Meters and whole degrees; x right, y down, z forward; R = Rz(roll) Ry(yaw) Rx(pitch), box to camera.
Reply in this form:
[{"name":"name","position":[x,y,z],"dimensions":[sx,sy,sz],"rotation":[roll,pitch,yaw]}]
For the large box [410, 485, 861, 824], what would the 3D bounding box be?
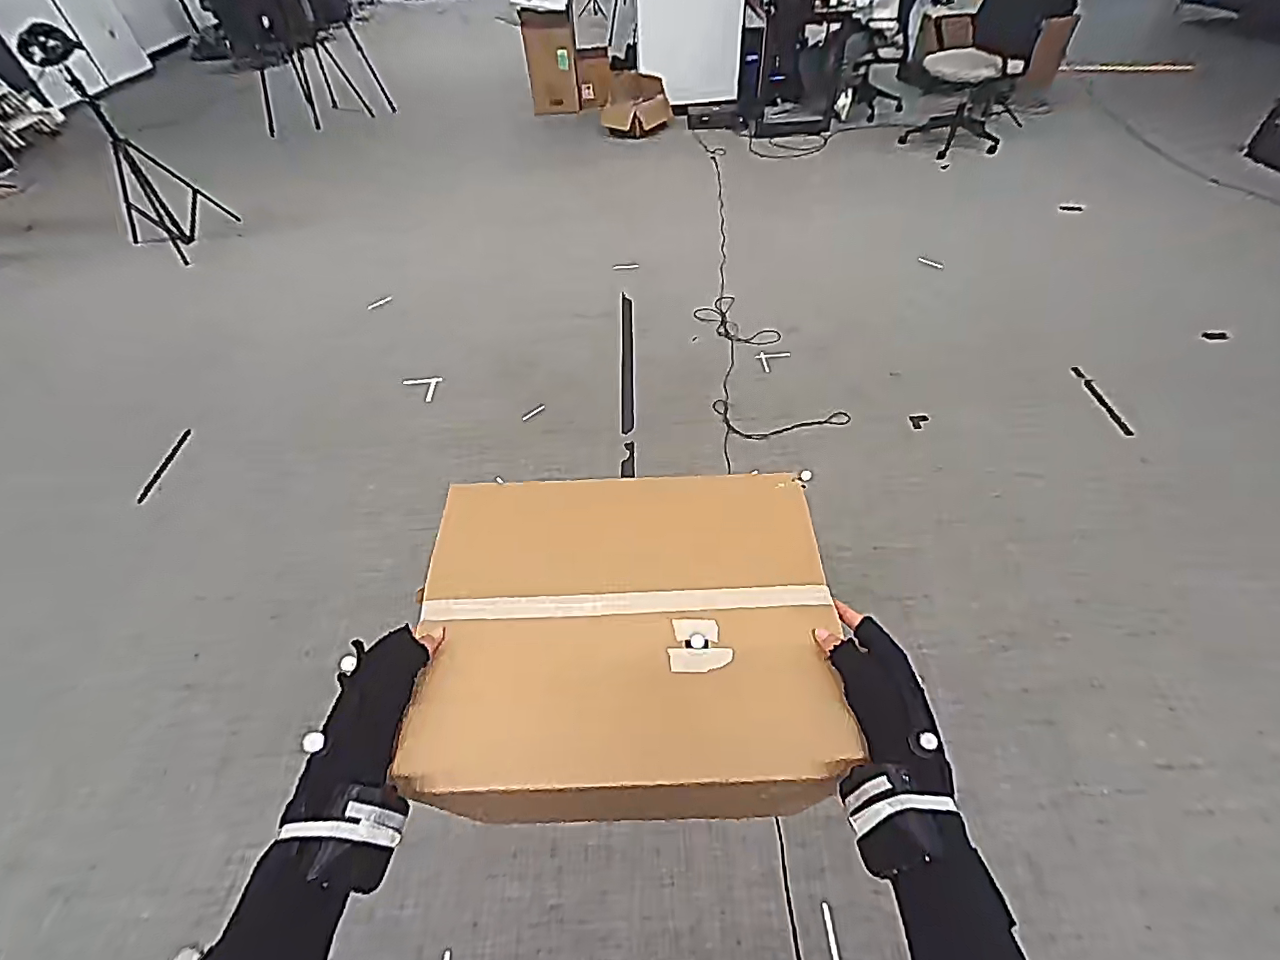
[{"name":"large box","position":[-0.008,0.225,0.675],"dimensions":[0.408,0.320,0.320],"rotation":[-2,54,0]}]
